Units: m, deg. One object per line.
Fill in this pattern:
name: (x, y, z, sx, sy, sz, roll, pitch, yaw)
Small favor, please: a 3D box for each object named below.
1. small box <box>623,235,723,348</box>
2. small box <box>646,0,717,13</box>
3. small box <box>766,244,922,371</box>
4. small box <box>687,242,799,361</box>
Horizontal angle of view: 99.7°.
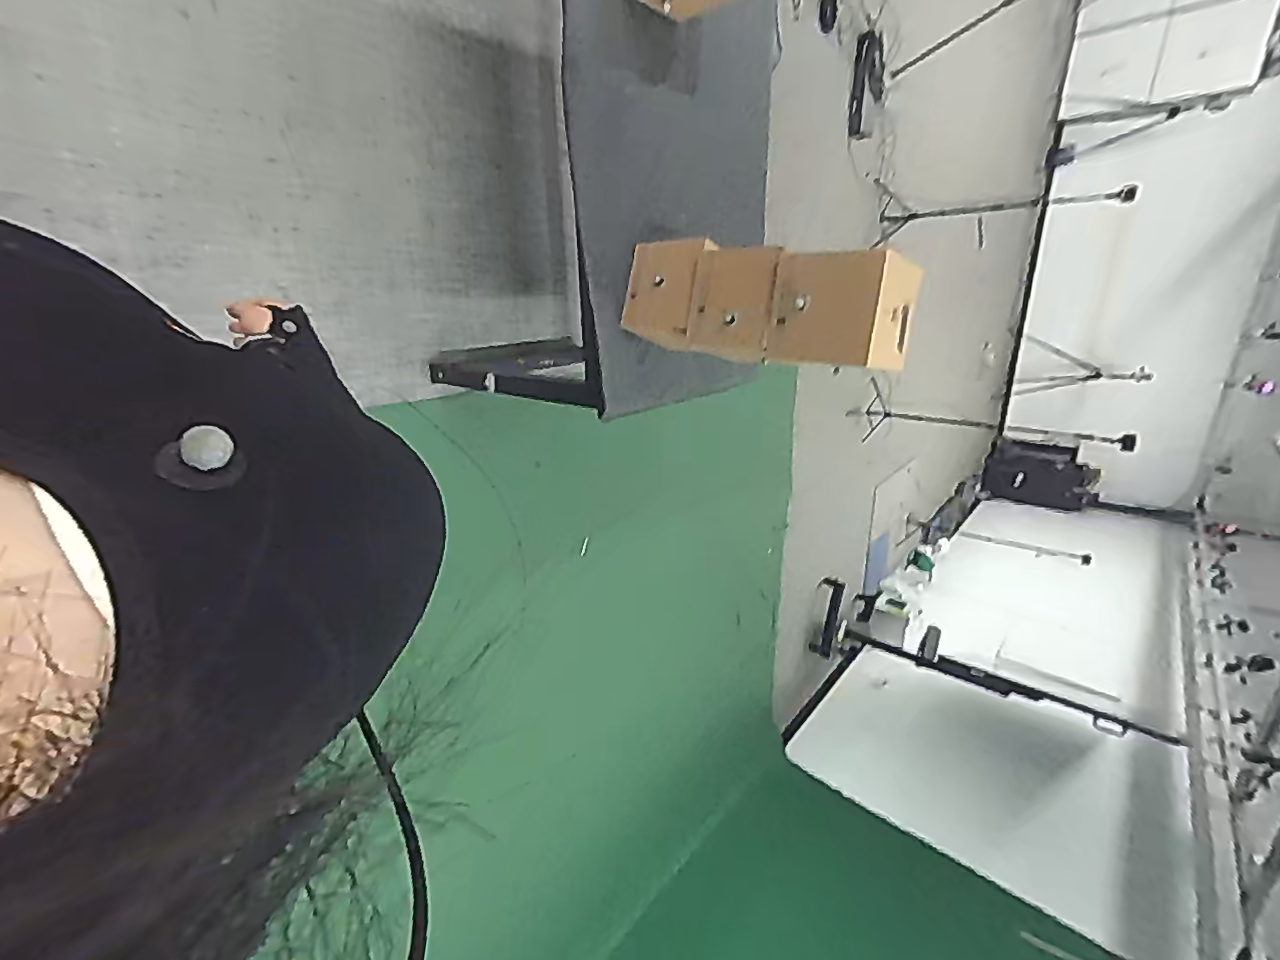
small box: (0.090, -0.361, 1.073, 0.179, 0.176, 0.168, 7, 96, -52)
small box: (0.072, -0.914, 0.891, 0.179, 0.176, 0.168, -22, 118, -45)
small box: (0.325, -0.269, 0.864, 0.179, 0.176, 0.168, -9, 109, -48)
small box: (0.205, -0.310, 0.970, 0.179, 0.176, 0.168, -1, 103, -51)
